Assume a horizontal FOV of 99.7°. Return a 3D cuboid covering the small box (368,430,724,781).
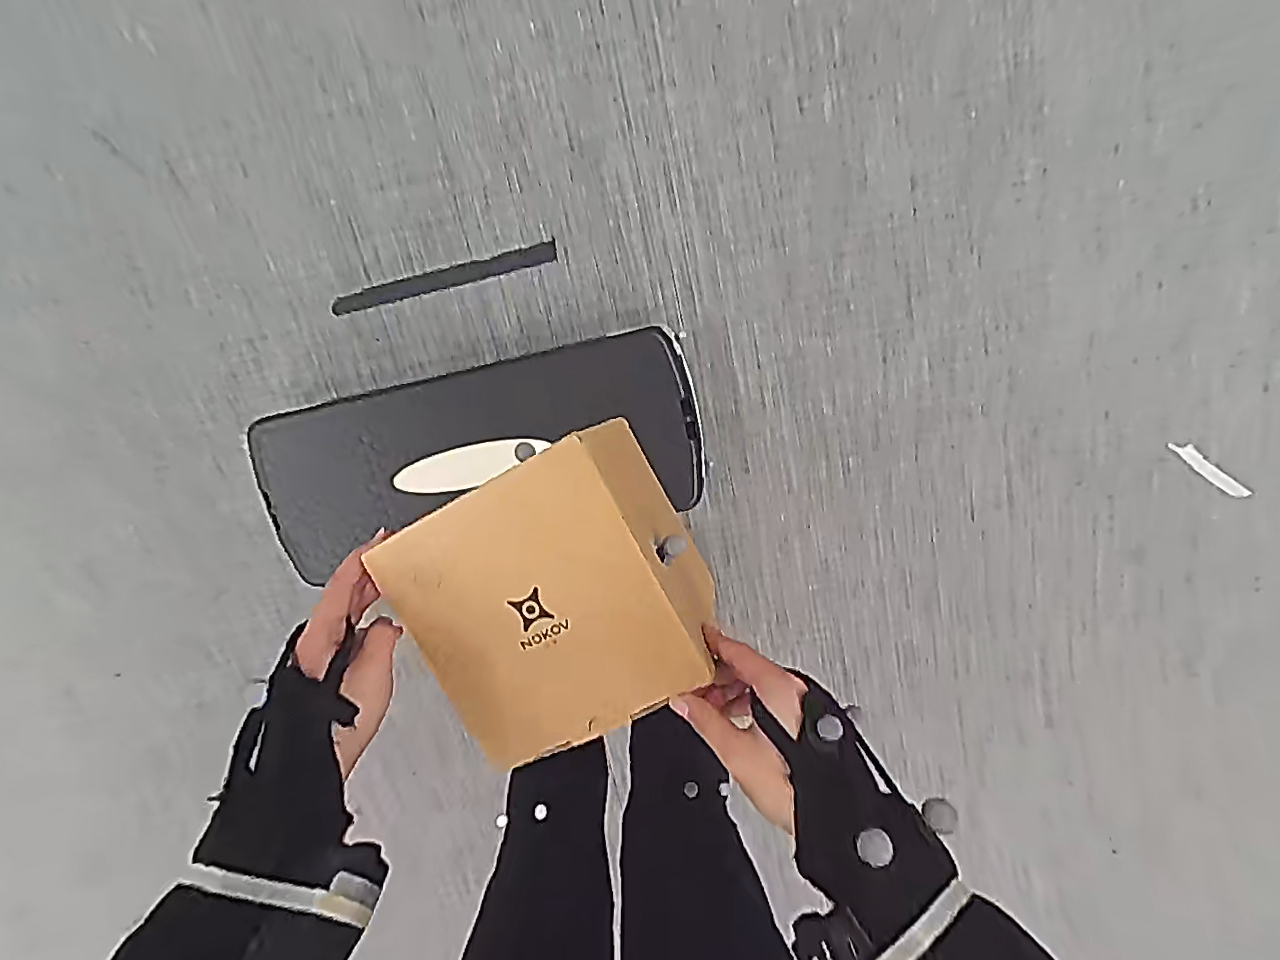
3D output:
[{"bbox_3d":[-0.052,0.072,0.408,0.168,0.176,0.179,-28,97,10],"label":"small box"}]
